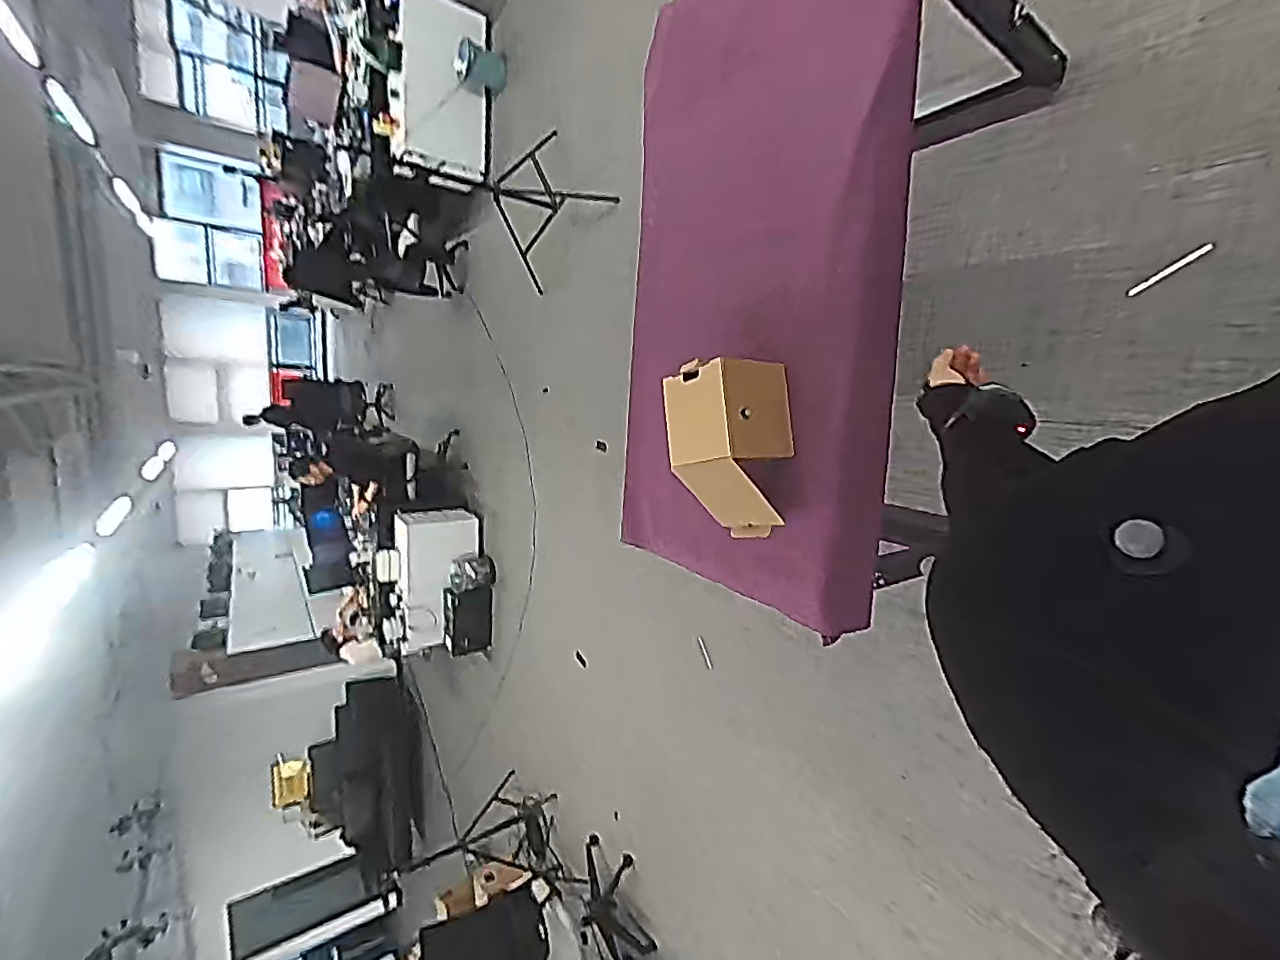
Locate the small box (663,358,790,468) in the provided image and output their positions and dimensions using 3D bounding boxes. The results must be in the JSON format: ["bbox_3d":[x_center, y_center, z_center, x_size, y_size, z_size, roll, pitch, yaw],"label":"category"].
[{"bbox_3d":[0.164,-0.119,1.015,0.168,0.176,0.179,-9,85,54],"label":"small box"}]
